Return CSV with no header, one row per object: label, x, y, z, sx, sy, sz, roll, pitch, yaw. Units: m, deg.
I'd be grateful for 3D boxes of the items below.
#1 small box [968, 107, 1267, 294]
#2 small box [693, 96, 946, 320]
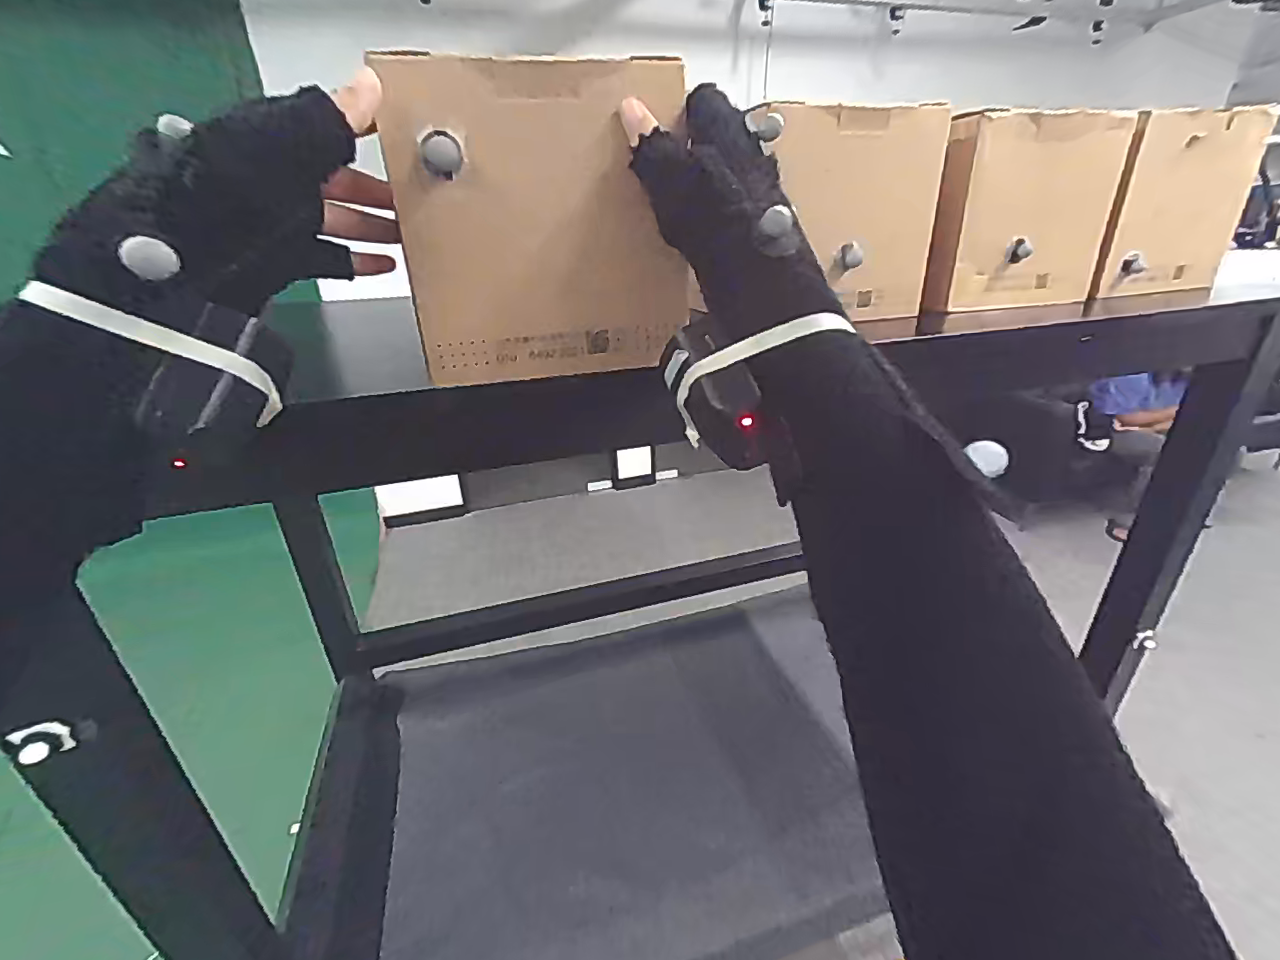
small box,0.521,-0.308,0.620,0.168,0.176,0.179,-8,24,-12
small box,0.154,-0.253,0.530,0.168,0.176,0.179,-8,25,-13
